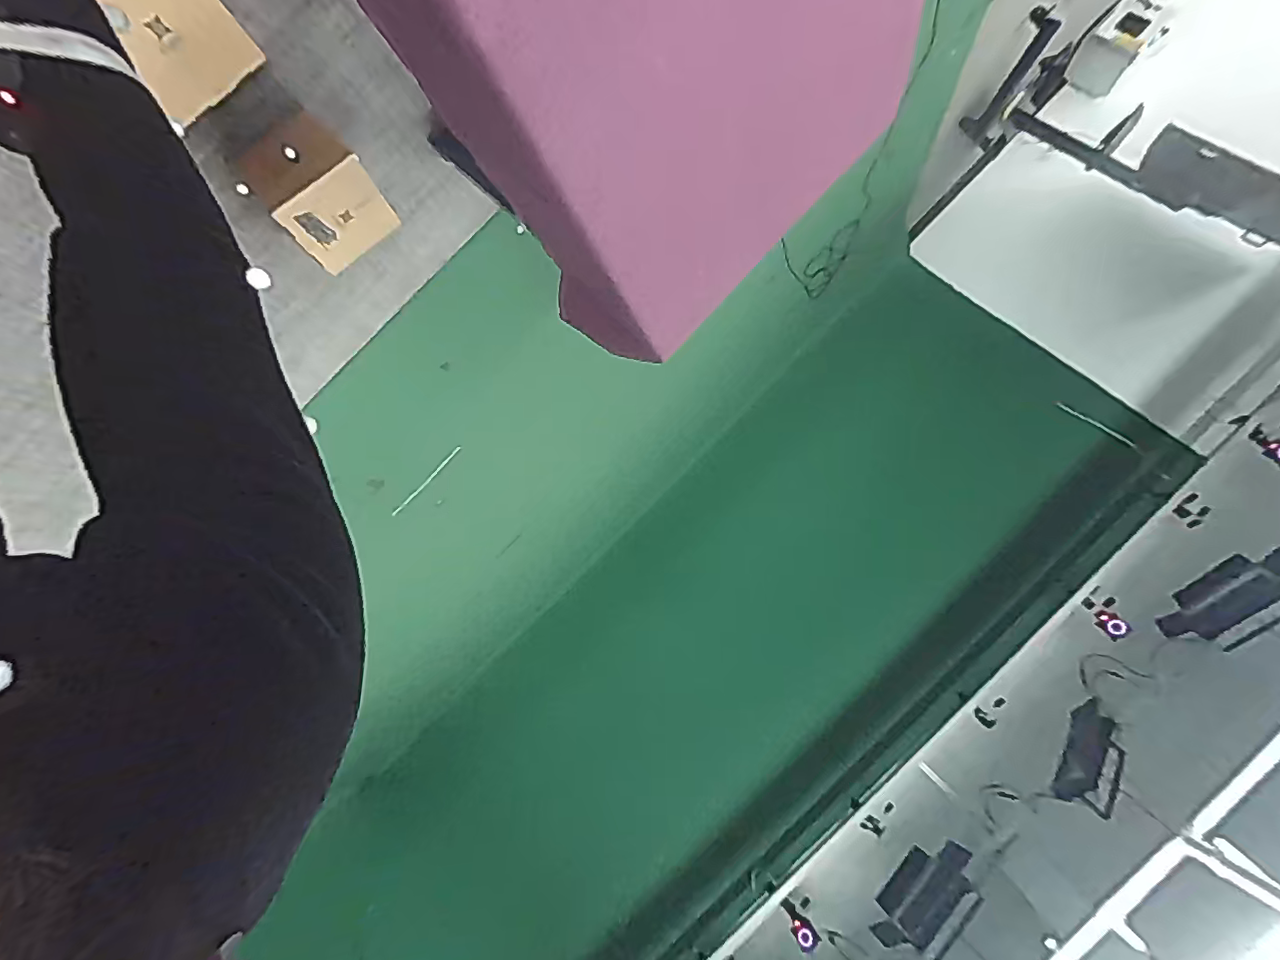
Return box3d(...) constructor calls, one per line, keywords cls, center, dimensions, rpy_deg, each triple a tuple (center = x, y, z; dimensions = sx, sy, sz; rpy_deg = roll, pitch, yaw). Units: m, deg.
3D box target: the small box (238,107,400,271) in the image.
box3d(cls="small box", center=(-0.600, -0.540, 1.008), dimensions=(0.179, 0.176, 0.168), rpy_deg=(-43, 164, -7))
